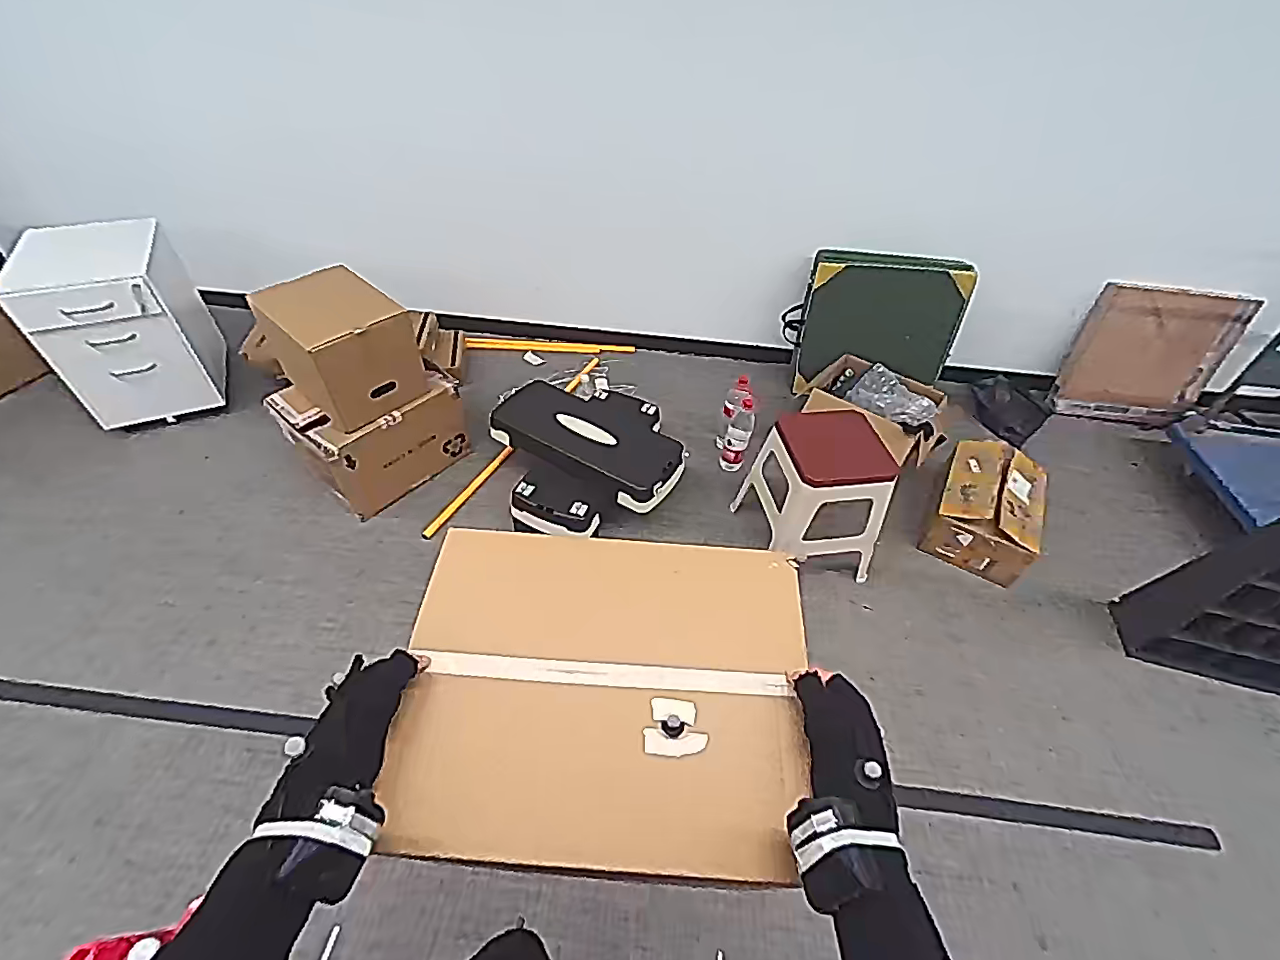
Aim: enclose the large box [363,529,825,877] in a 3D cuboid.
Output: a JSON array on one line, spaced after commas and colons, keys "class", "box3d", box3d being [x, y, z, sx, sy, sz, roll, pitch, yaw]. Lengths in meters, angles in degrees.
[{"class": "large box", "box3d": [-0.039, 0.281, 0.664, 0.408, 0.320, 0.320, 5, 53, 0]}]
